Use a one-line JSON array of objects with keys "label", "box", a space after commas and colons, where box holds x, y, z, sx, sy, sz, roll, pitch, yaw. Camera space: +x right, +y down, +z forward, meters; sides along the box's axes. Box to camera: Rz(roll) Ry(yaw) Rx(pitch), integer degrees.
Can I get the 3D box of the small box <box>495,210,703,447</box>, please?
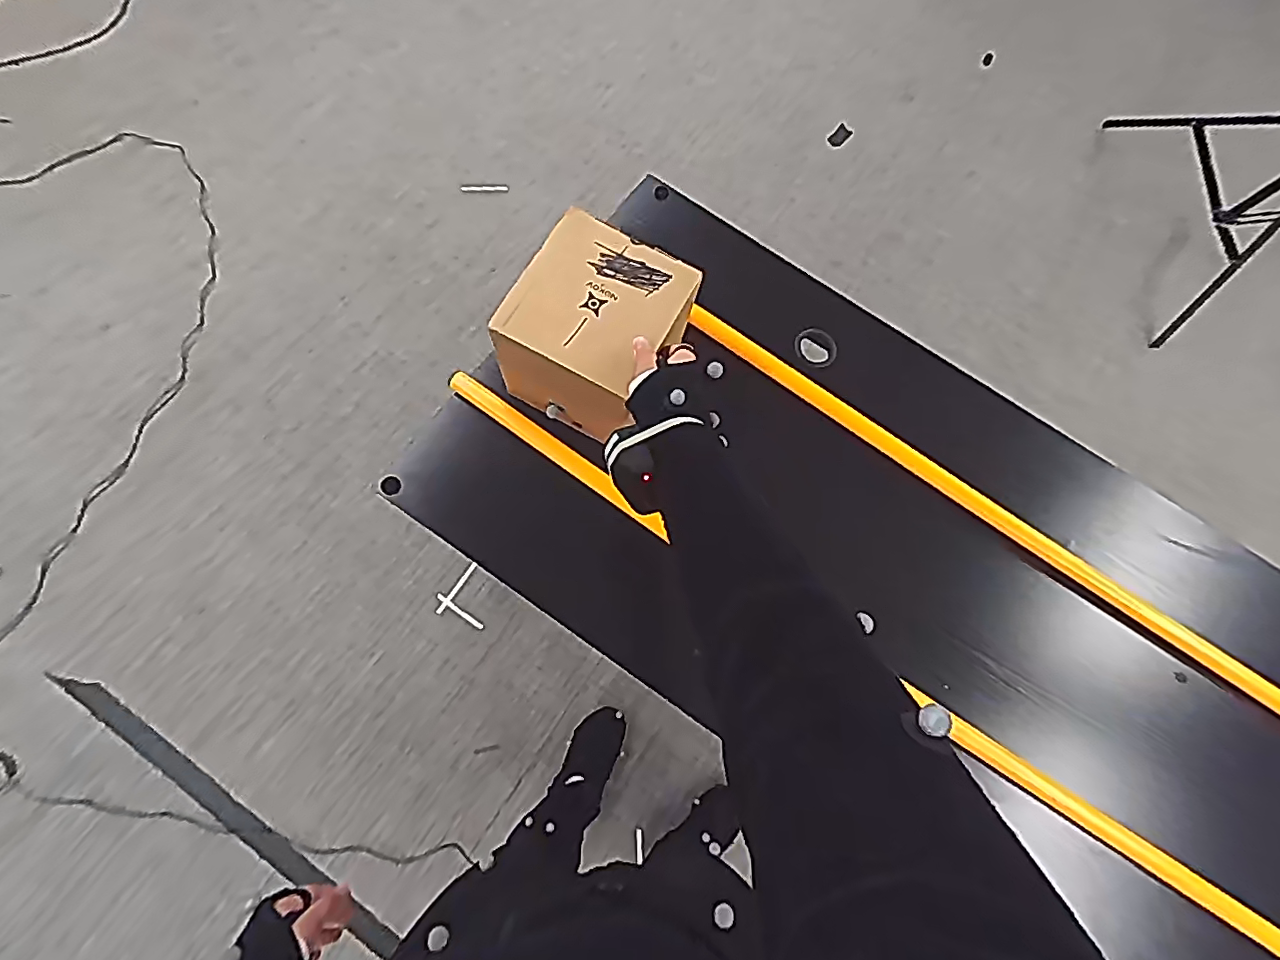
[{"label": "small box", "box": [-0.048, -0.168, 0.647, 0.168, 0.176, 0.179, 28, 75, 3]}]
